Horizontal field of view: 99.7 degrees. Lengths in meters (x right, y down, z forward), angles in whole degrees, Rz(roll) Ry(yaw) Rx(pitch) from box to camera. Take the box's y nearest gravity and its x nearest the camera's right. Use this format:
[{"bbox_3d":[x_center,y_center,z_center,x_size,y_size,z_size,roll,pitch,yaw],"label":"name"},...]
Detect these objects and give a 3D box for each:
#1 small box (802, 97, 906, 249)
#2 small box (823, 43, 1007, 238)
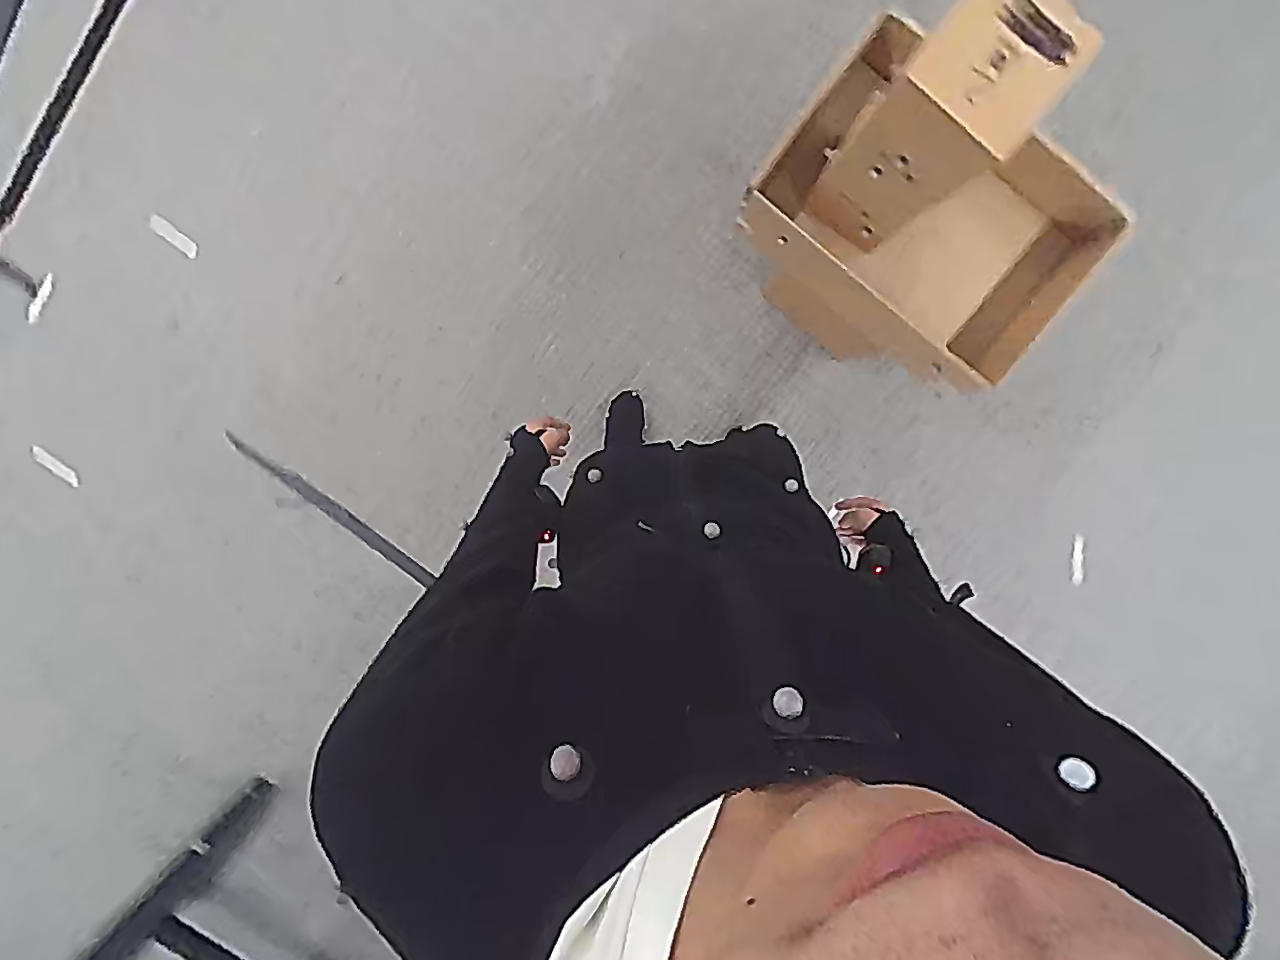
[{"bbox_3d":[0.447,-0.575,1.045,0.179,0.176,0.168,33,96,-3],"label":"small box"},{"bbox_3d":[0.432,-0.538,0.886,0.168,0.176,0.179,38,96,-4],"label":"small box"}]
